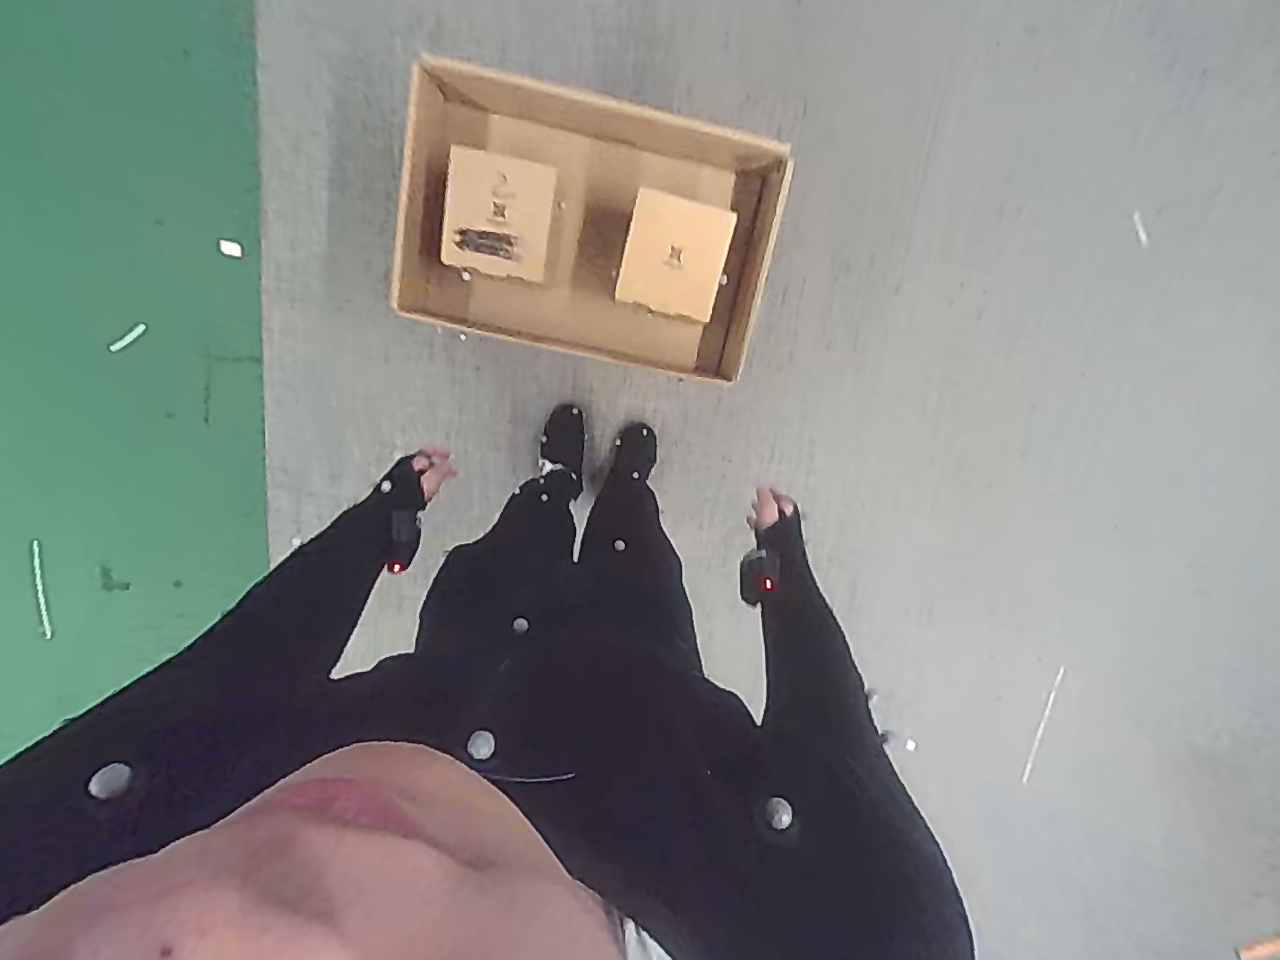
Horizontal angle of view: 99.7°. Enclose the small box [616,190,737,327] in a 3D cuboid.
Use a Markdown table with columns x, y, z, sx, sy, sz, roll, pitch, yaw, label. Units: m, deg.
| x | y | z | sx | sy | sz | roll | pitch | yaw | label |
| --- | --- | --- | --- | --- | --- | --- | --- | --- | --- |
| 0.053 | -0.379 | 0.958 | 0.168 | 0.176 | 0.179 | 13 | 104 | -6 | small box |
